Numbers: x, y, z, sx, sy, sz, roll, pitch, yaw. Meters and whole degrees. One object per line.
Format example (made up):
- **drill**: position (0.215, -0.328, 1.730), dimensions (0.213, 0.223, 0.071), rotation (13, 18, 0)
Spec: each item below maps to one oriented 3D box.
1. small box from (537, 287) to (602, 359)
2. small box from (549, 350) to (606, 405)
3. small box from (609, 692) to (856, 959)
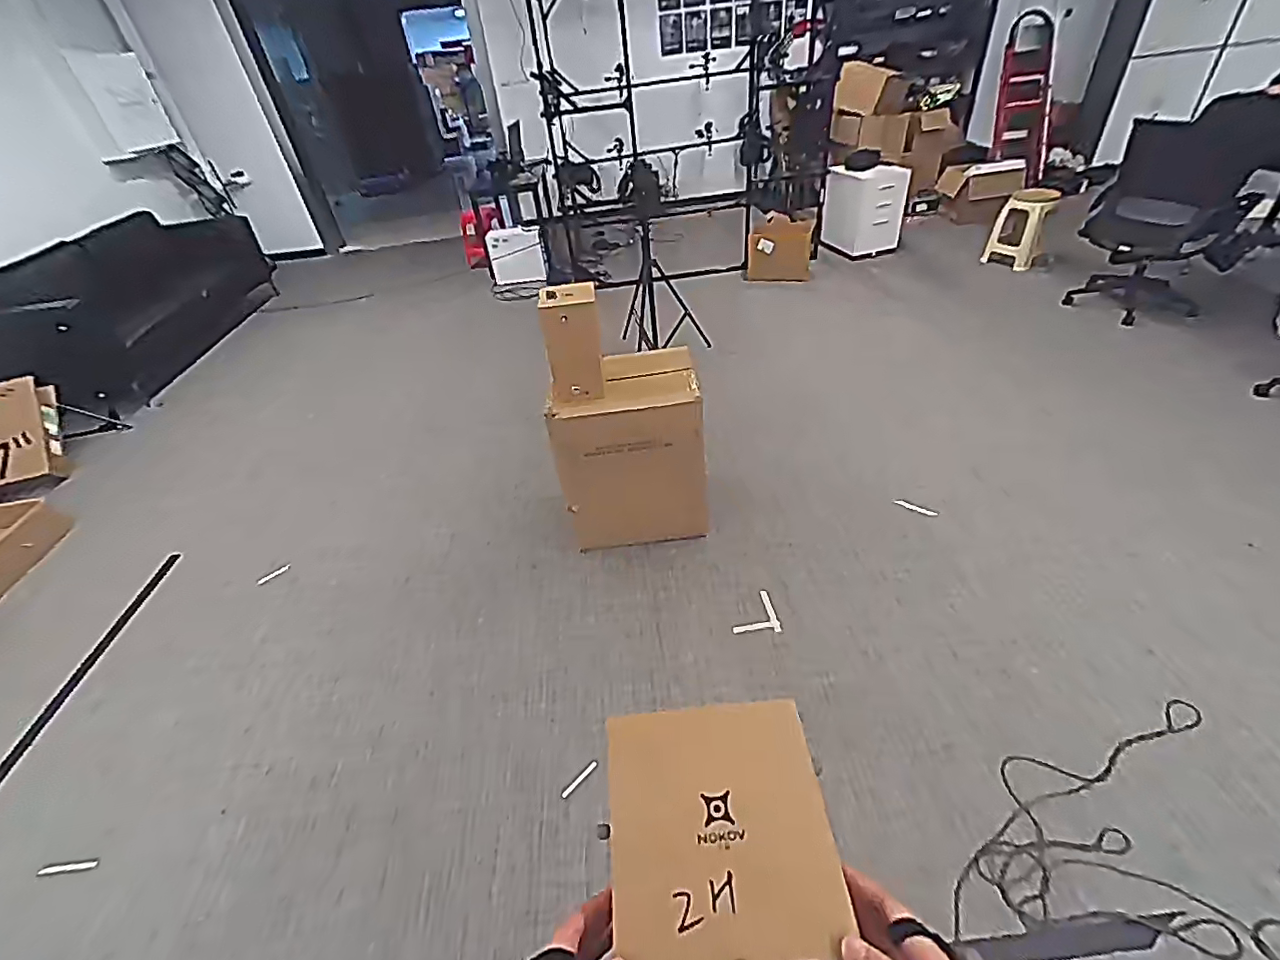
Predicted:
- **small box**: position (-0.223, -0.501, 1.740), dimensions (0.179, 0.176, 0.168), rotation (-7, 40, 0)
- **small box**: position (-0.209, -0.376, 1.846), dimensions (0.168, 0.176, 0.179), rotation (-7, 41, 0)
- **small box**: position (0.063, 0.312, 0.472), dimensions (0.168, 0.176, 0.179), rotation (-6, 44, 0)
